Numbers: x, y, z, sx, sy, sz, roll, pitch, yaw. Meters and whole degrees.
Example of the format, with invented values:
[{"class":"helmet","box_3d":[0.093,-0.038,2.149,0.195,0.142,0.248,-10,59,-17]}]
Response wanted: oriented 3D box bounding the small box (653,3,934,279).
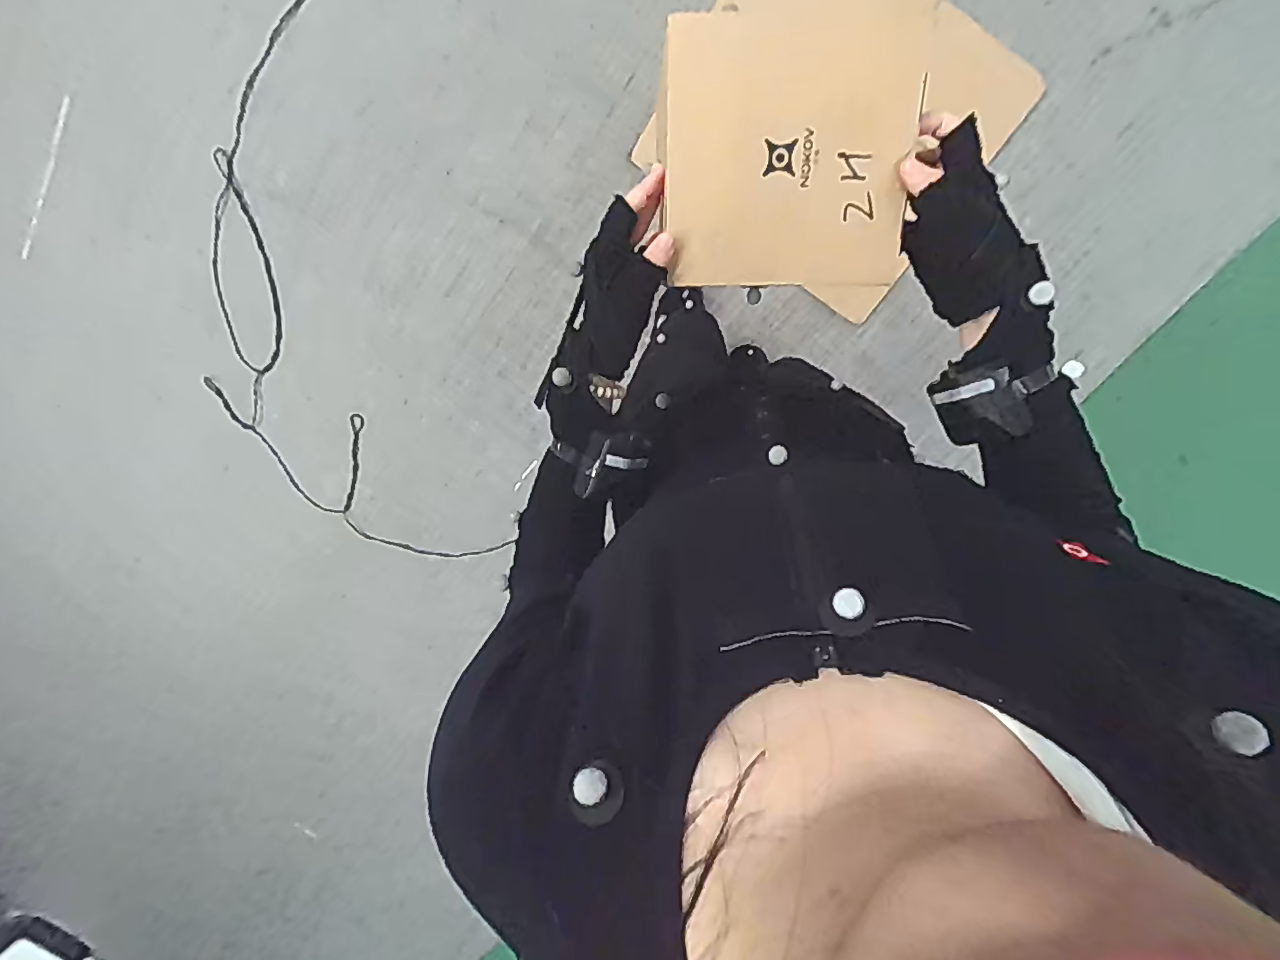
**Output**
[{"class":"small box","box_3d":[0.101,-0.256,0.447,0.179,0.176,0.168,0,113,-1]}]
